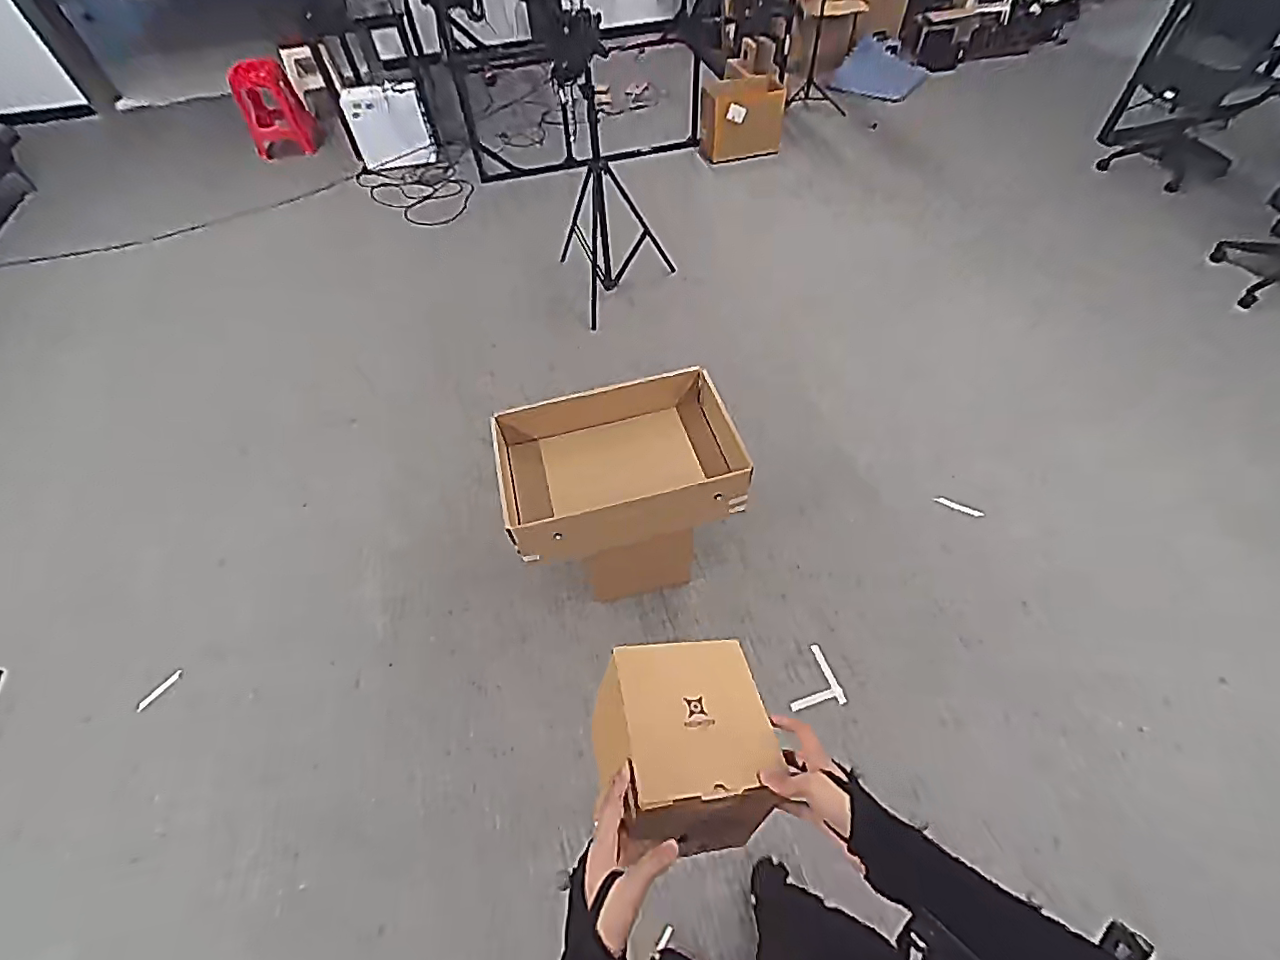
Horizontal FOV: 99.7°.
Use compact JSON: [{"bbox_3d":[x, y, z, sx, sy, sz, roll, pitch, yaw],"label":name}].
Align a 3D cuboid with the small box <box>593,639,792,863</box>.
[{"bbox_3d":[0.045,0.313,0.639,0.168,0.176,0.179,1,39,-17],"label":"small box"}]
